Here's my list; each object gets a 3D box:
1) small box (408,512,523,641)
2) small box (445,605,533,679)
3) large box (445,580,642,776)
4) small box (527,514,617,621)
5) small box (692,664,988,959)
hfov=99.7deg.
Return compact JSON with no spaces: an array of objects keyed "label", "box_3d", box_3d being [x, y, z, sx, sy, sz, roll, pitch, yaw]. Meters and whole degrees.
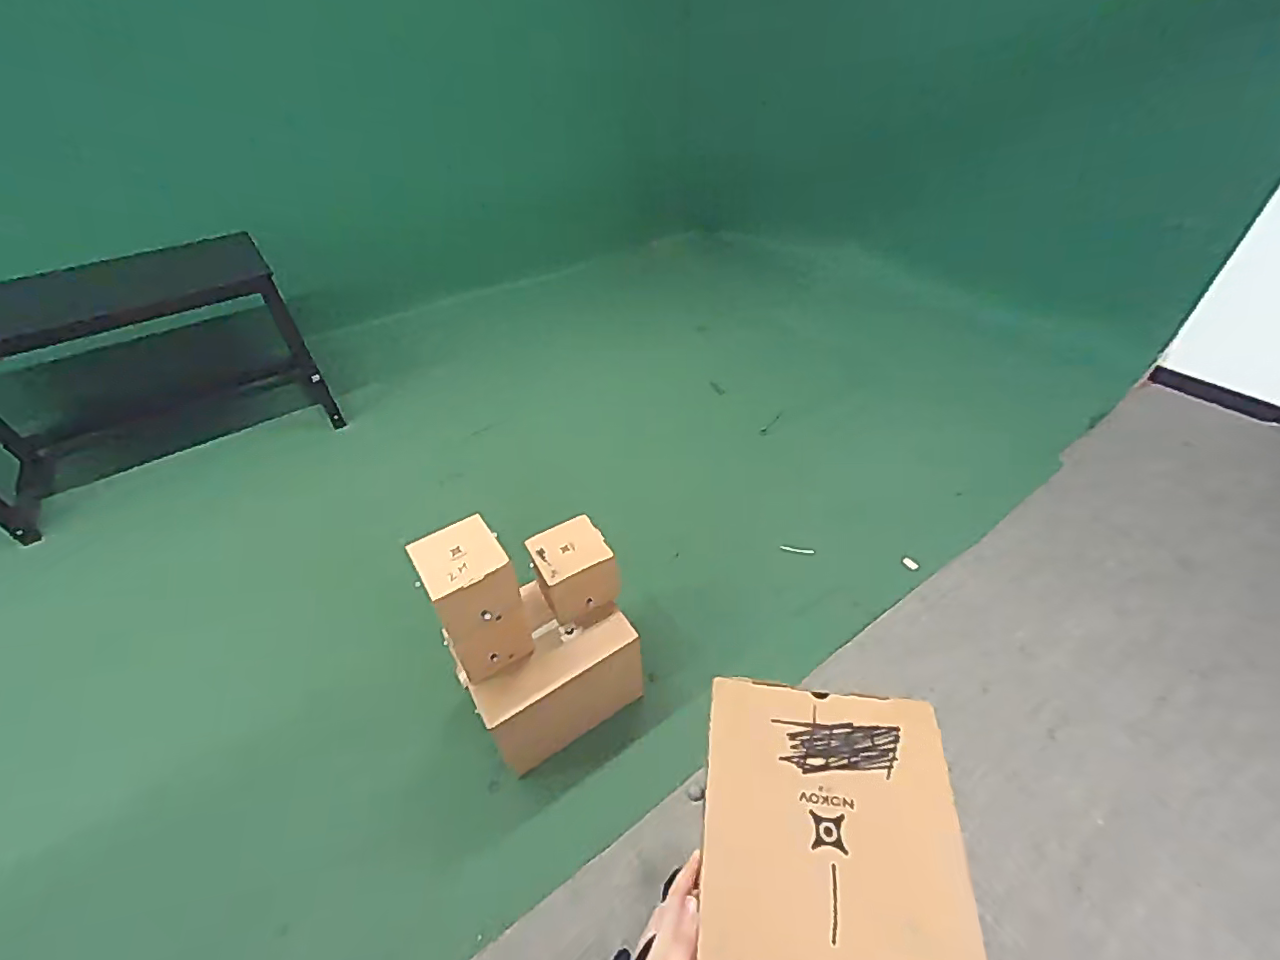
[{"label":"small box","box_3d":[-0.372,0.208,1.165,0.168,0.176,0.179,-27,48,-24]},{"label":"small box","box_3d":[-0.370,0.329,1.276,0.168,0.176,0.179,-25,47,-23]},{"label":"large box","box_3d":[-0.244,0.492,1.450,0.408,0.320,0.320,-26,48,-24]},{"label":"small box","box_3d":[-0.168,0.223,1.375,0.179,0.176,0.168,-22,45,-19]},{"label":"small box","box_3d":[0.129,0.268,0.415,0.168,0.176,0.179,4,48,10]}]
